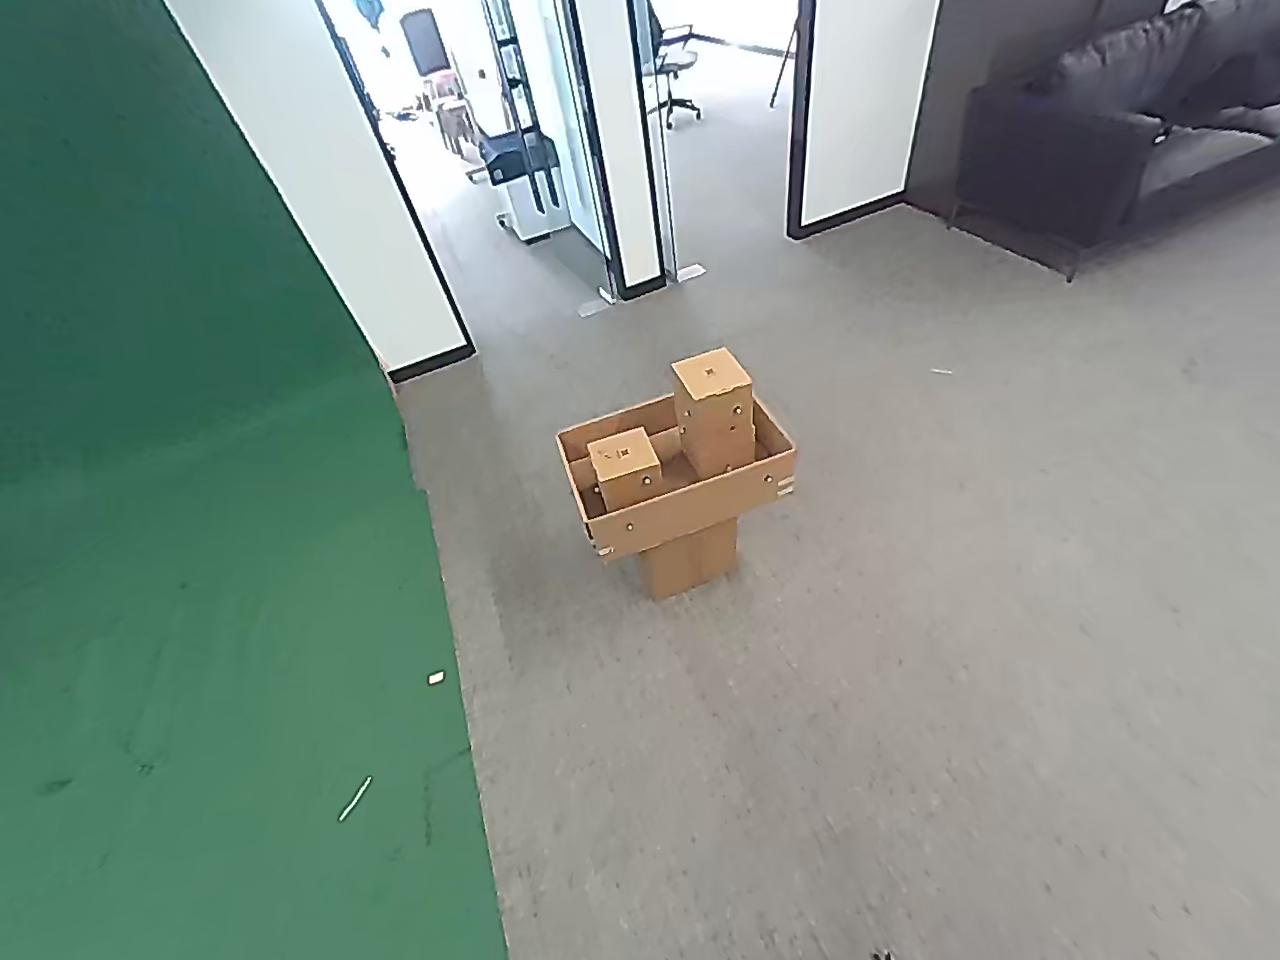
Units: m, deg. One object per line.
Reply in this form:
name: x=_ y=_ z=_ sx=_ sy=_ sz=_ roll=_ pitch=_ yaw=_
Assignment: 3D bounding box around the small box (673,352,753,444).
small box: x=0.203 y=-0.218 z=1.490 sx=0.168 sy=0.176 sz=0.179 roll=-18 pitch=47 yaw=-7
